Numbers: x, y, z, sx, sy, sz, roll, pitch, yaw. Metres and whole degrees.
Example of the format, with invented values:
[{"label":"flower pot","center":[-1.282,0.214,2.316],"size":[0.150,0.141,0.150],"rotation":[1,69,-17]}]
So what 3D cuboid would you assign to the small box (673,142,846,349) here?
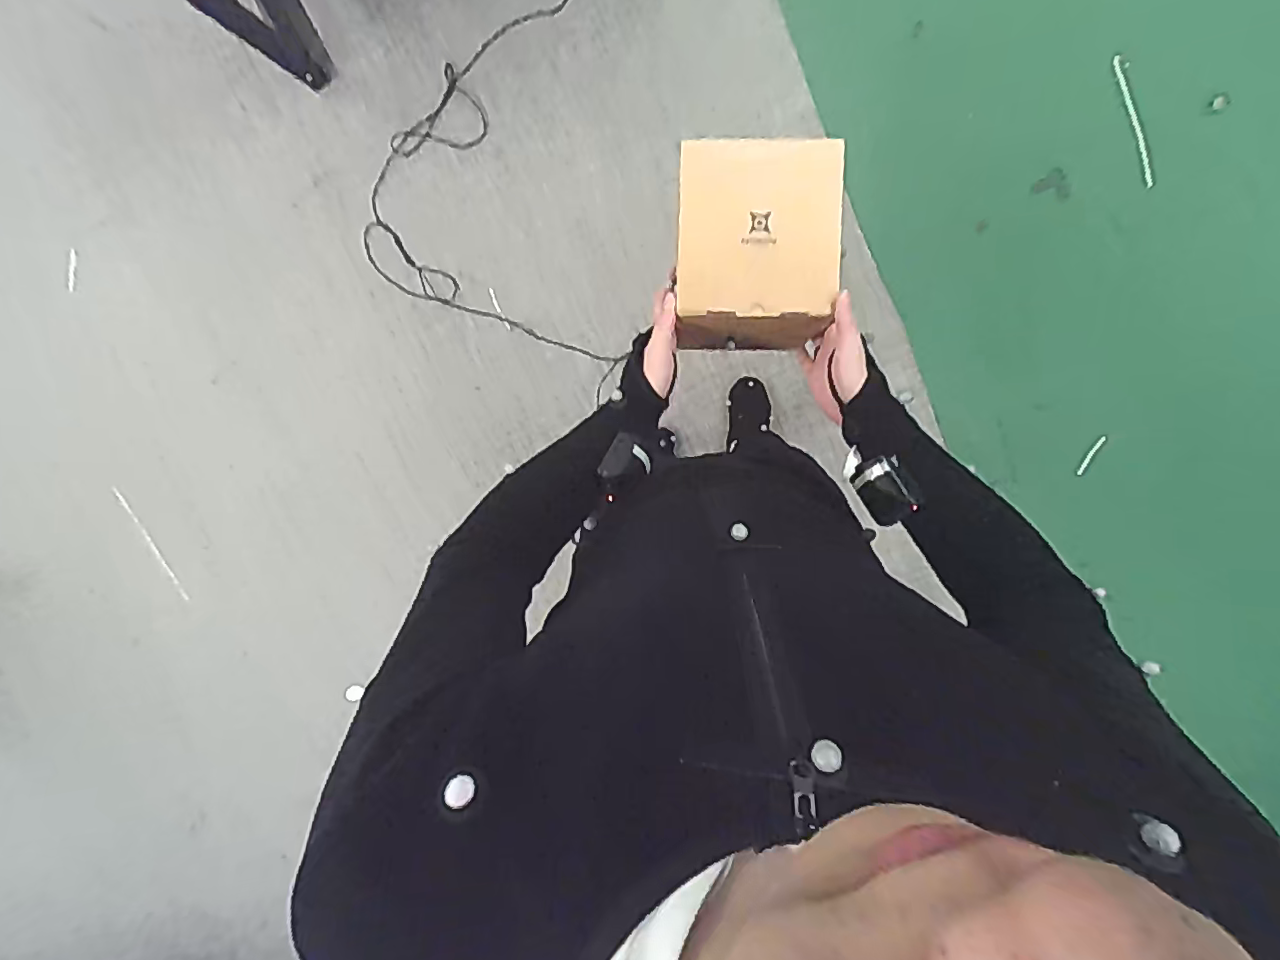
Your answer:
[{"label":"small box","center":[0.124,-0.256,0.625],"size":[0.168,0.176,0.179],"rotation":[0,94,1]}]
